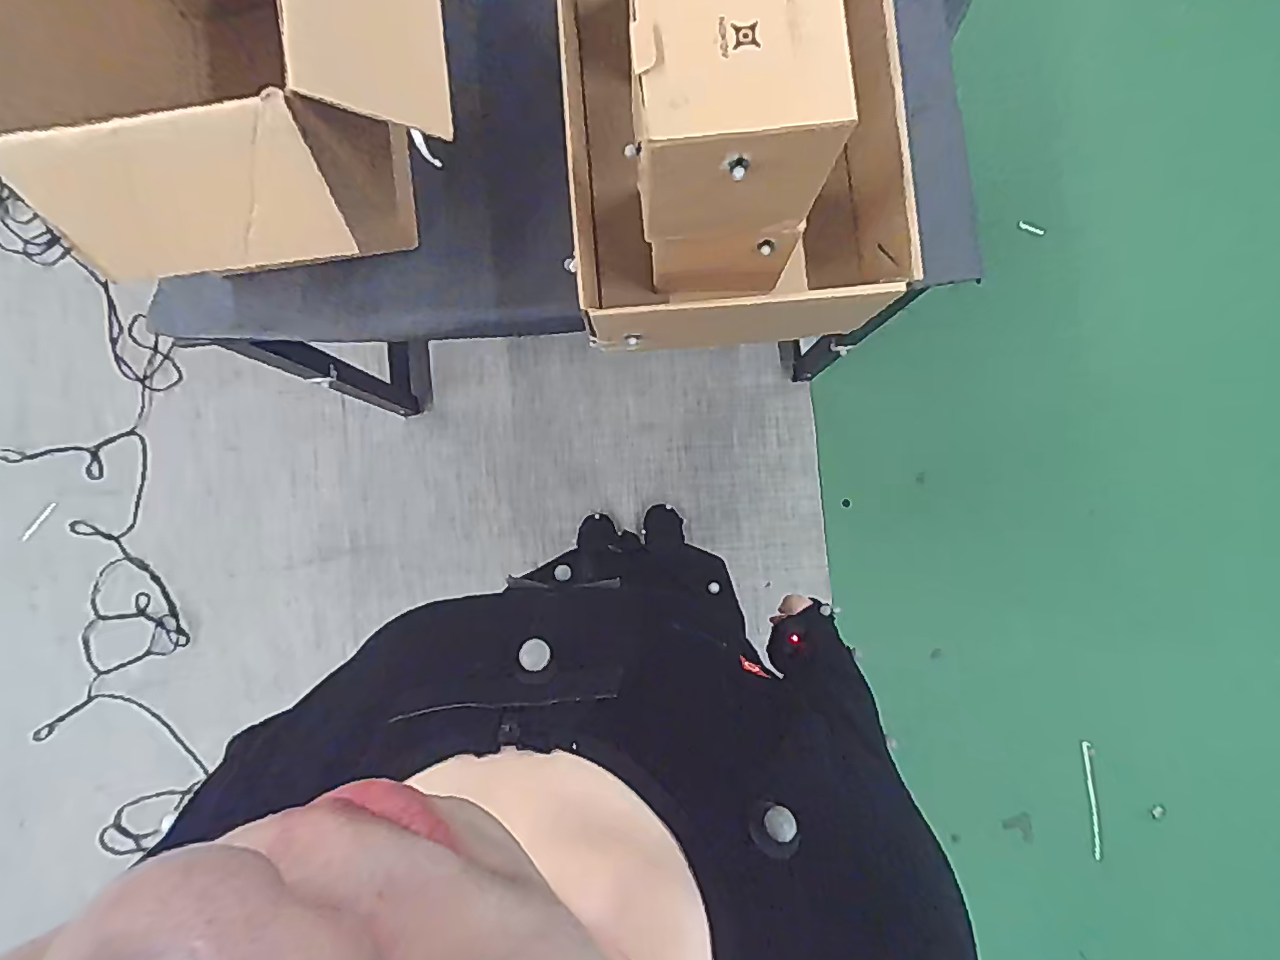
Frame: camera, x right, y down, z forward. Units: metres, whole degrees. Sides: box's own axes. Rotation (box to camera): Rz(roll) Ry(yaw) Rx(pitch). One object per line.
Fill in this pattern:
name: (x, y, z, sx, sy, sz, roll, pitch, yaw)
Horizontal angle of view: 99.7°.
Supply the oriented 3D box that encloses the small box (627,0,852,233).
small box: (0.083, -0.362, 0.528, 0.179, 0.176, 0.168, -6, 88, 0)
